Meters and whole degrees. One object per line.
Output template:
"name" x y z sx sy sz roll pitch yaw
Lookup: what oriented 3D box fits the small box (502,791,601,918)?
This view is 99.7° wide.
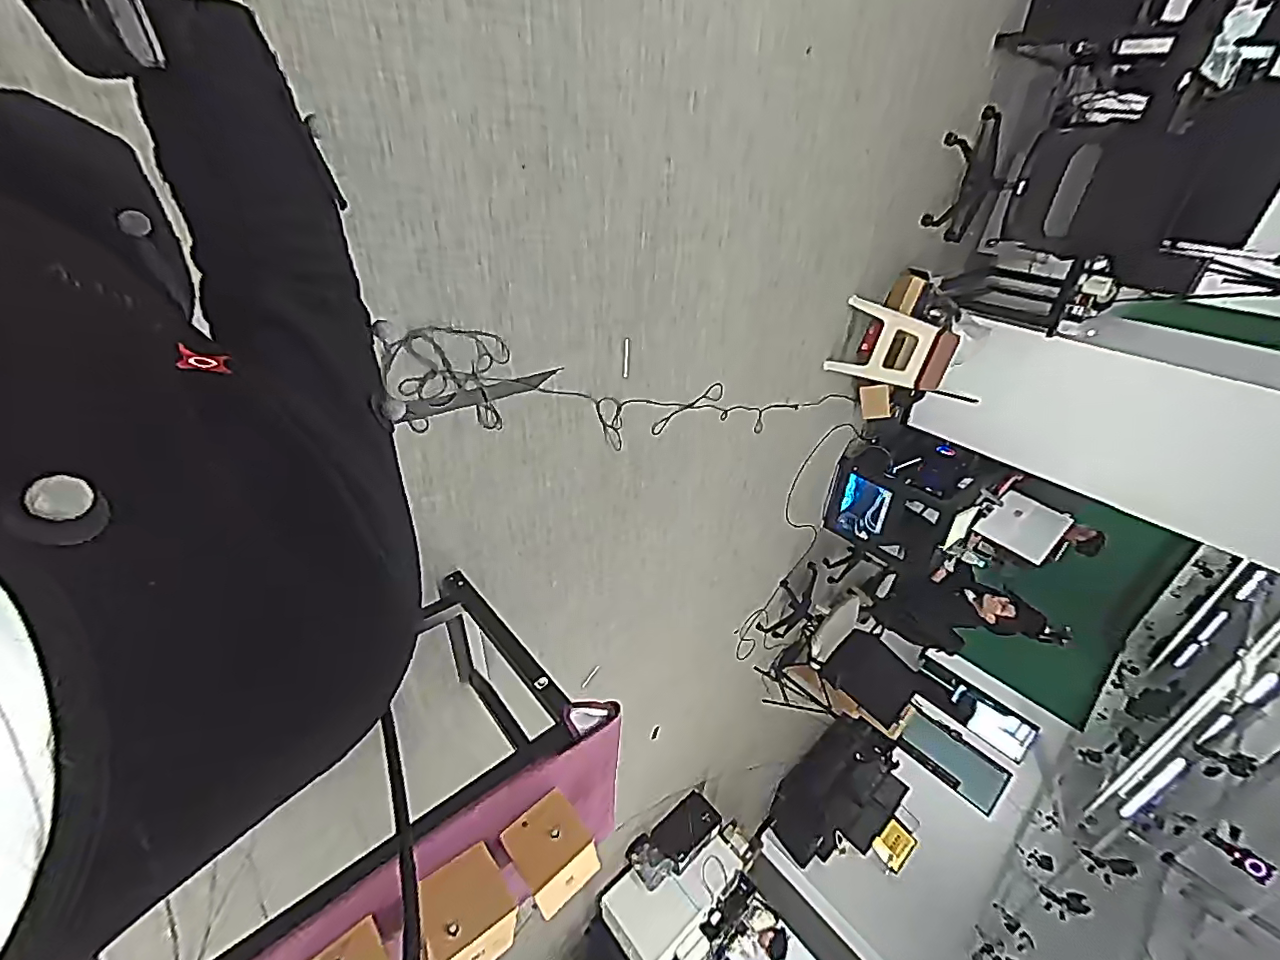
"small box" -0.217 0.904 1.322 0.168 0.176 0.179 -30 134 -30
